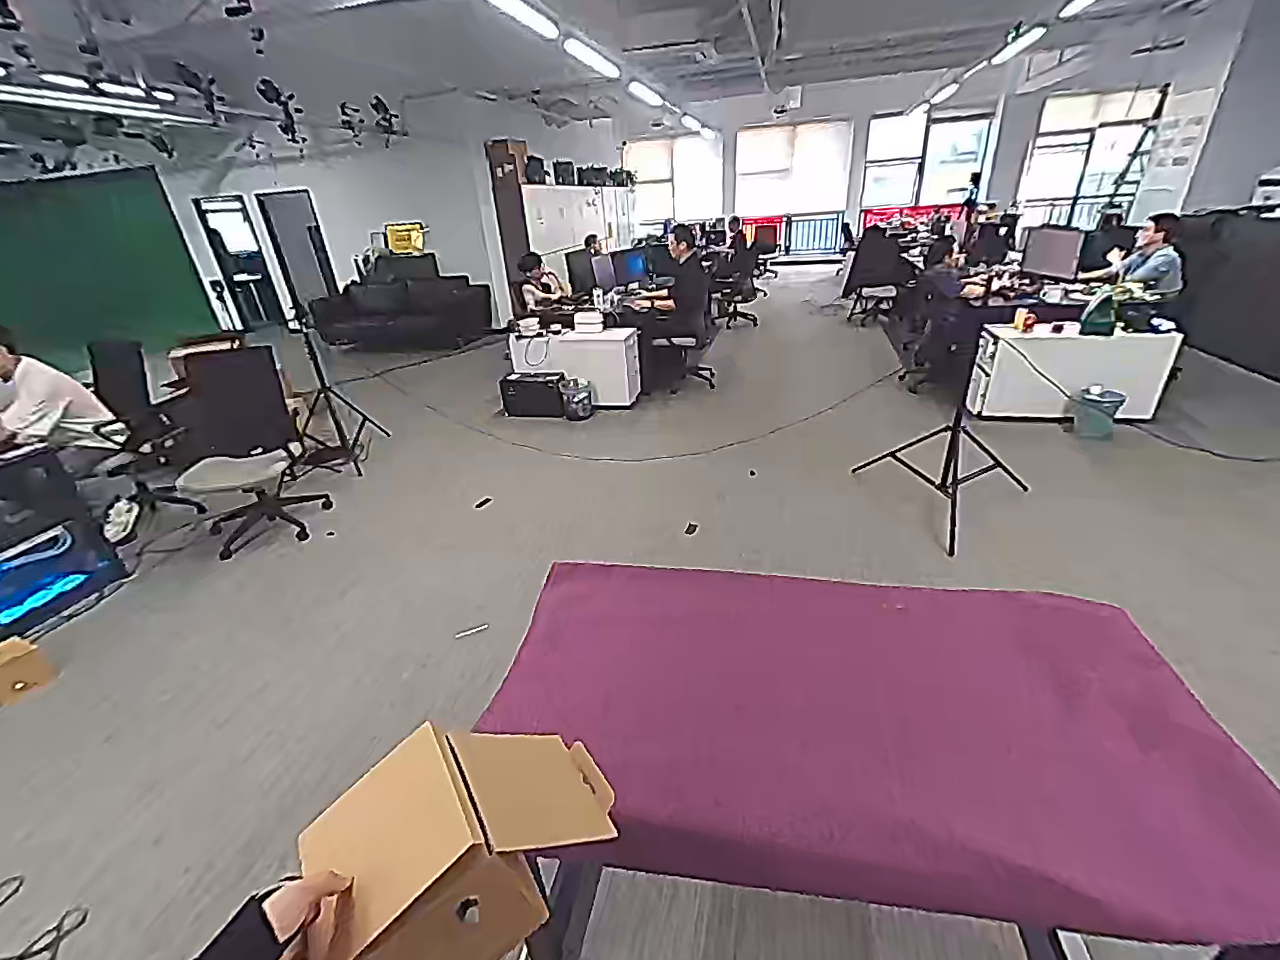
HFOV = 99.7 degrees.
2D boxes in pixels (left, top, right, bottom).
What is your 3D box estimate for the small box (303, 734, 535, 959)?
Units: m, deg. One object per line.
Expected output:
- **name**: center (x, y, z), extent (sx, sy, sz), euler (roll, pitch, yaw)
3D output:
- **small box**: center (-0.232, 0.433, 0.595), extent (0.179, 0.176, 0.168), euler (-30, 35, -21)
